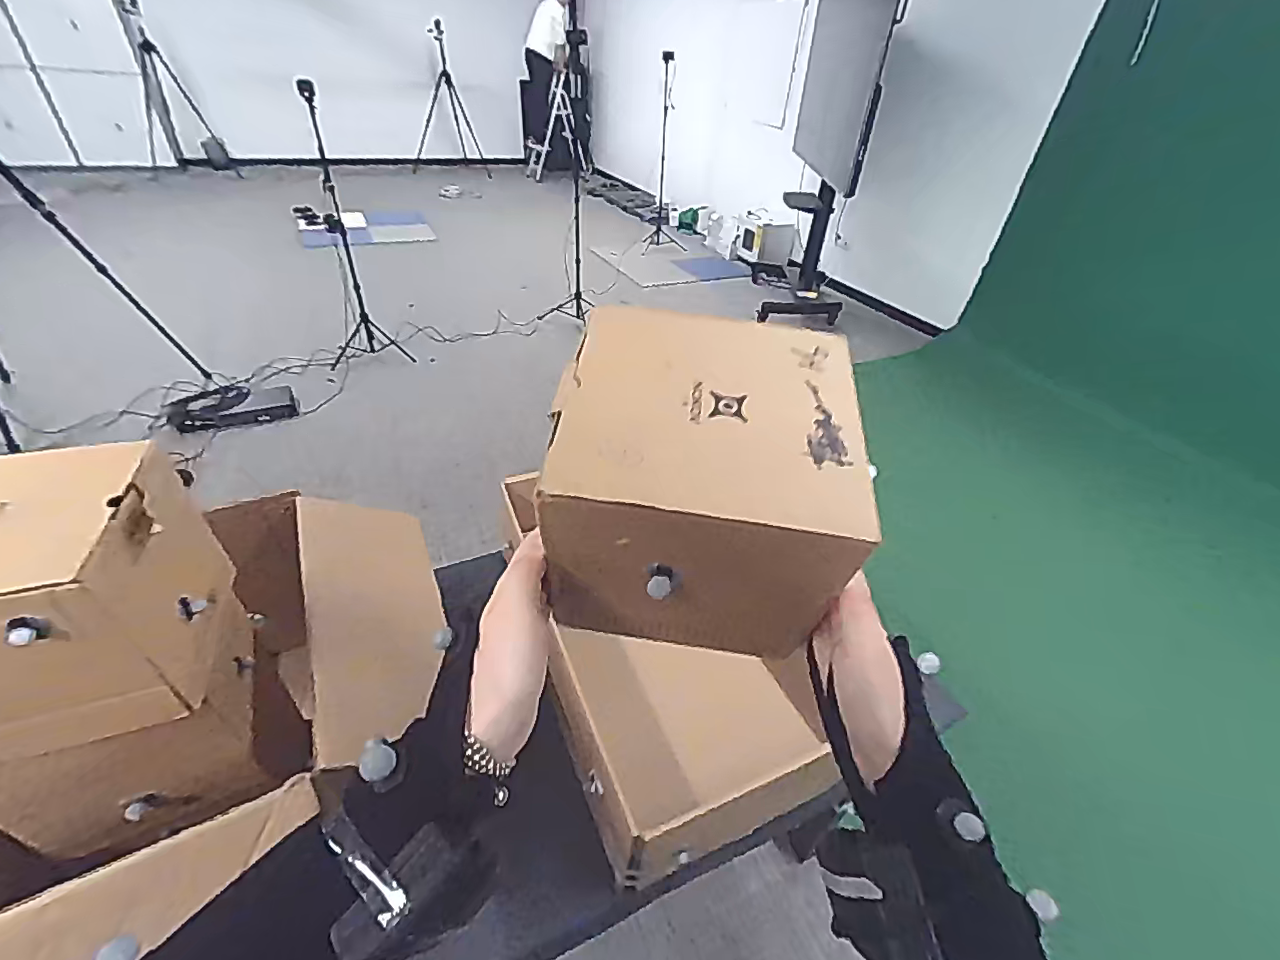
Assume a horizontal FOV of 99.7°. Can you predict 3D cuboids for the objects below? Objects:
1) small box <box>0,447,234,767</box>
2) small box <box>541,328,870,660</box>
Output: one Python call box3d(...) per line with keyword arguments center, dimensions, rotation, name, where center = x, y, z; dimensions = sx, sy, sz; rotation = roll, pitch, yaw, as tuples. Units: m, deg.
box3d(center=(-0.462, 0.098, 0.421), dimensions=(0.179, 0.176, 0.168), rotation=(-10, 41, -19), name="small box")
box3d(center=(0.039, 0.015, 0.391), dimensions=(0.179, 0.176, 0.168), rotation=(7, 52, 2), name="small box")
